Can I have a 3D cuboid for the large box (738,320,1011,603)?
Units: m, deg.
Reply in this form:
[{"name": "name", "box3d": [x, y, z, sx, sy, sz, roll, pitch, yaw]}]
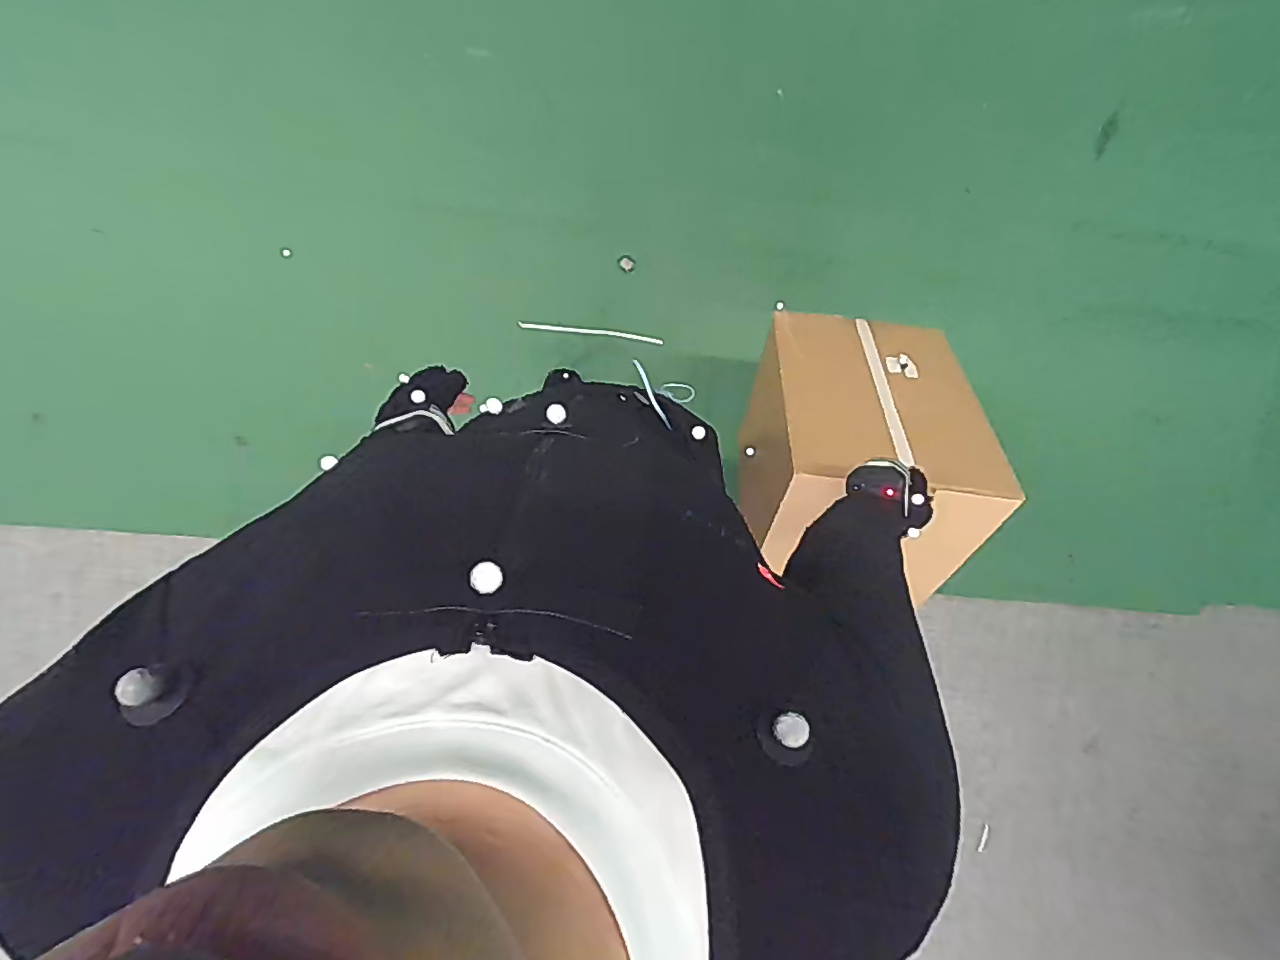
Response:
[{"name": "large box", "box3d": [0.365, -0.035, 0.981, 0.320, 0.408, 0.320, 8, 138, -1]}]
